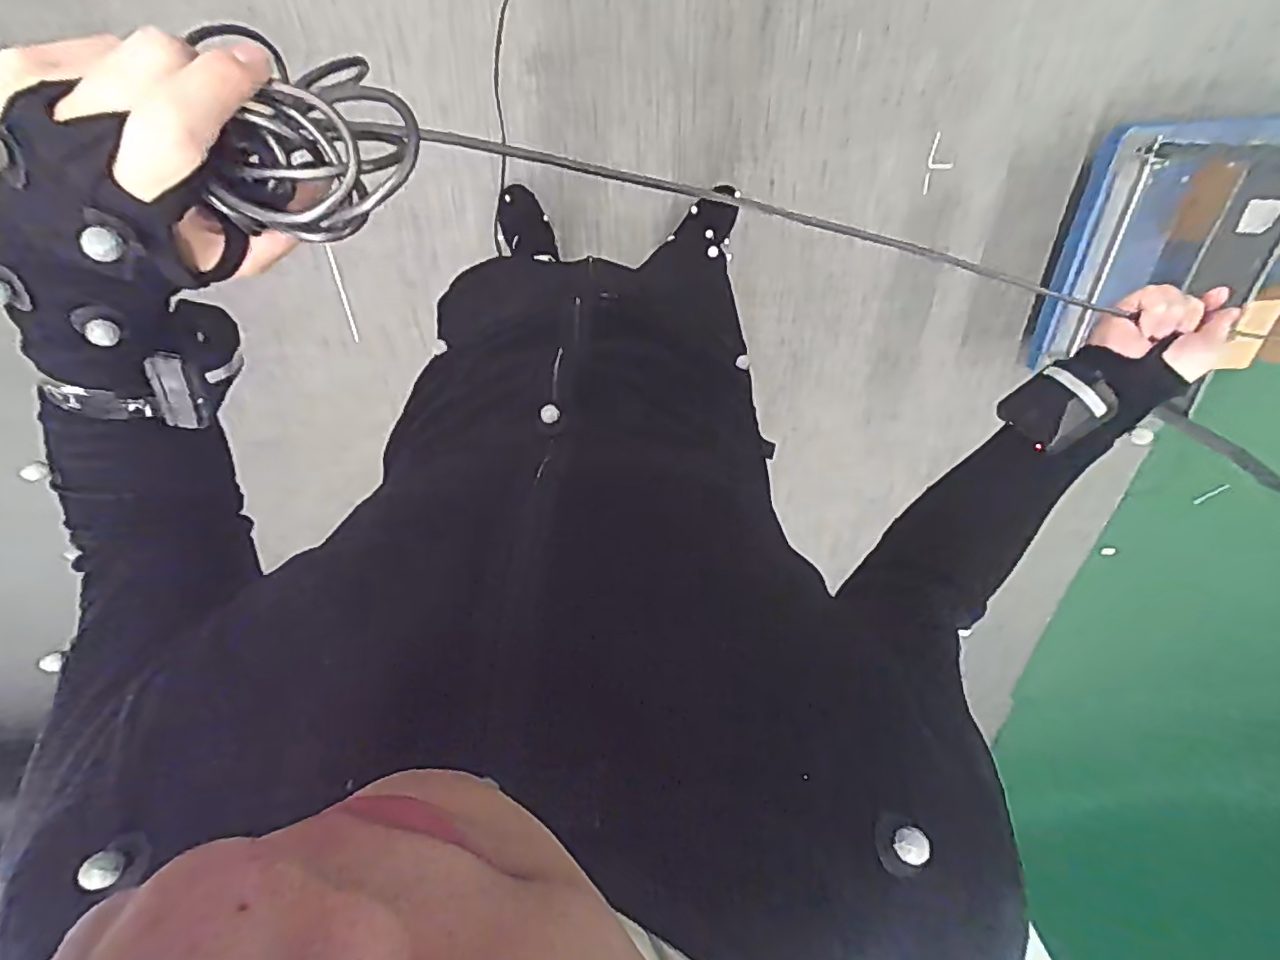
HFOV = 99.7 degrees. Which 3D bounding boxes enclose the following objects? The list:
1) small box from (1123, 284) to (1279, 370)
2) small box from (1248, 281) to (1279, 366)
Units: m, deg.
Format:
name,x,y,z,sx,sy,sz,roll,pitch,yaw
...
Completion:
name,x,y,z,sx,sy,sz,roll,pitch,yaw
small box,1.366,-0.380,1.328,0.179,0.176,0.168,-2,123,-1
small box,1.636,-0.392,1.333,0.179,0.176,0.168,-5,122,2
